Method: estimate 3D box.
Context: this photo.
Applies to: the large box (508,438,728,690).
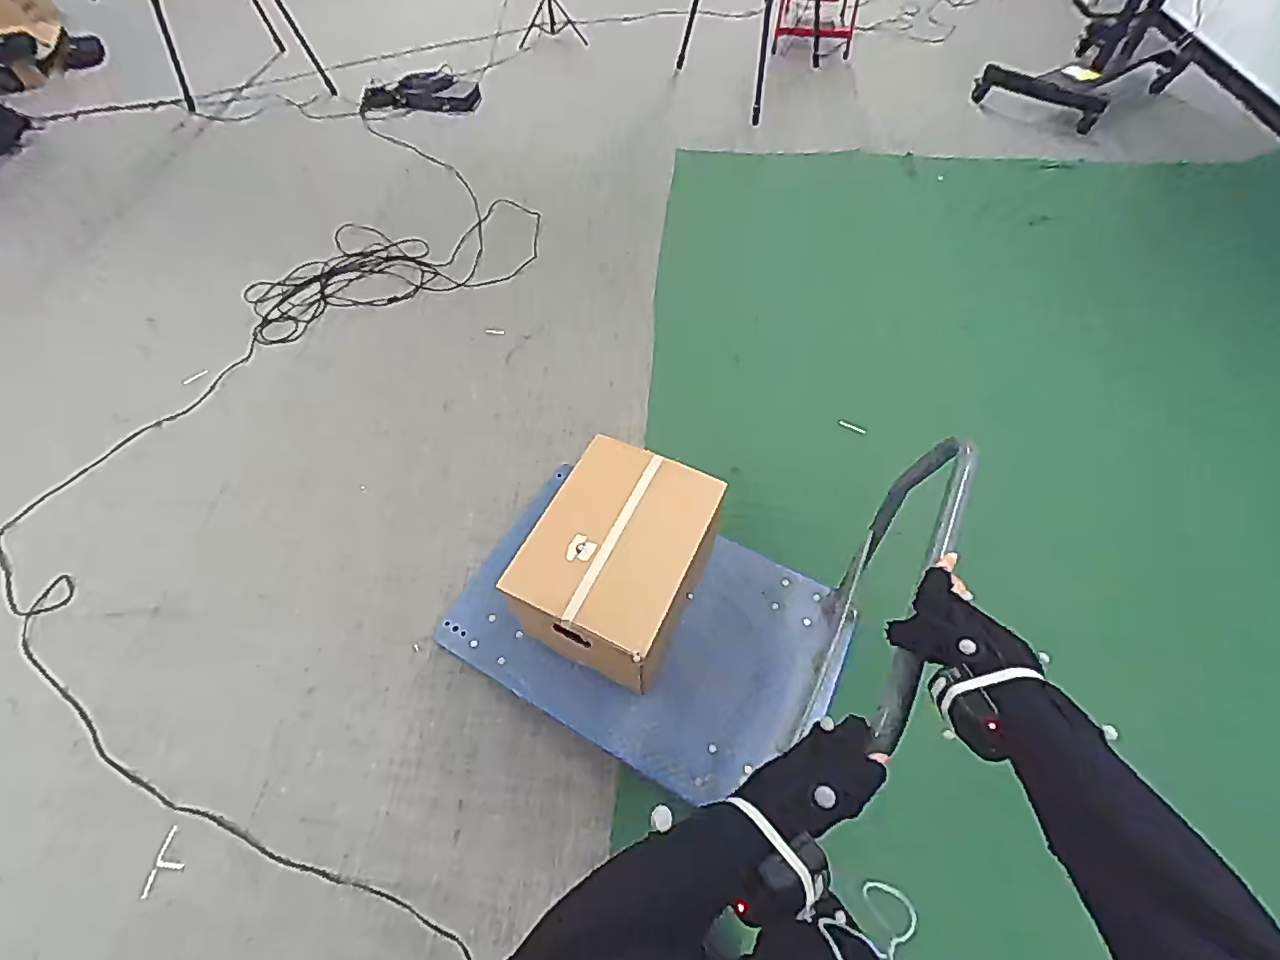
[{"bbox_3d":[-0.031,0.188,1.206,0.320,0.320,0.408,22,61,15],"label":"large box"}]
